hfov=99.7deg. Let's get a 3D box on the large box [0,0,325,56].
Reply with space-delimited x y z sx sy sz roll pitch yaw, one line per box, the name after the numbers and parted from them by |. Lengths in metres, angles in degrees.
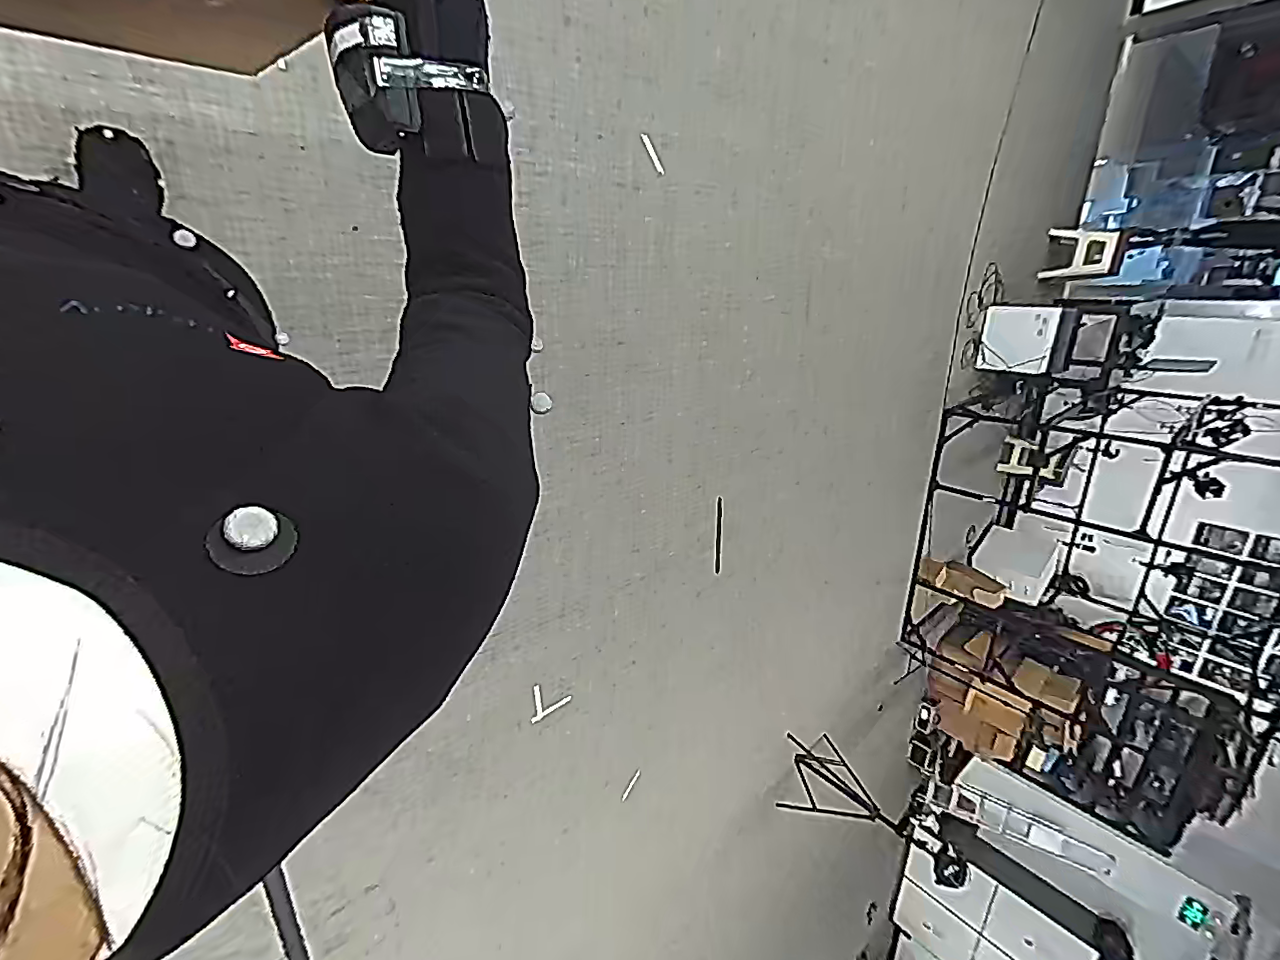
-0.398 -0.421 0.216 0.408 0.320 0.320 -20 126 -40 | large box
